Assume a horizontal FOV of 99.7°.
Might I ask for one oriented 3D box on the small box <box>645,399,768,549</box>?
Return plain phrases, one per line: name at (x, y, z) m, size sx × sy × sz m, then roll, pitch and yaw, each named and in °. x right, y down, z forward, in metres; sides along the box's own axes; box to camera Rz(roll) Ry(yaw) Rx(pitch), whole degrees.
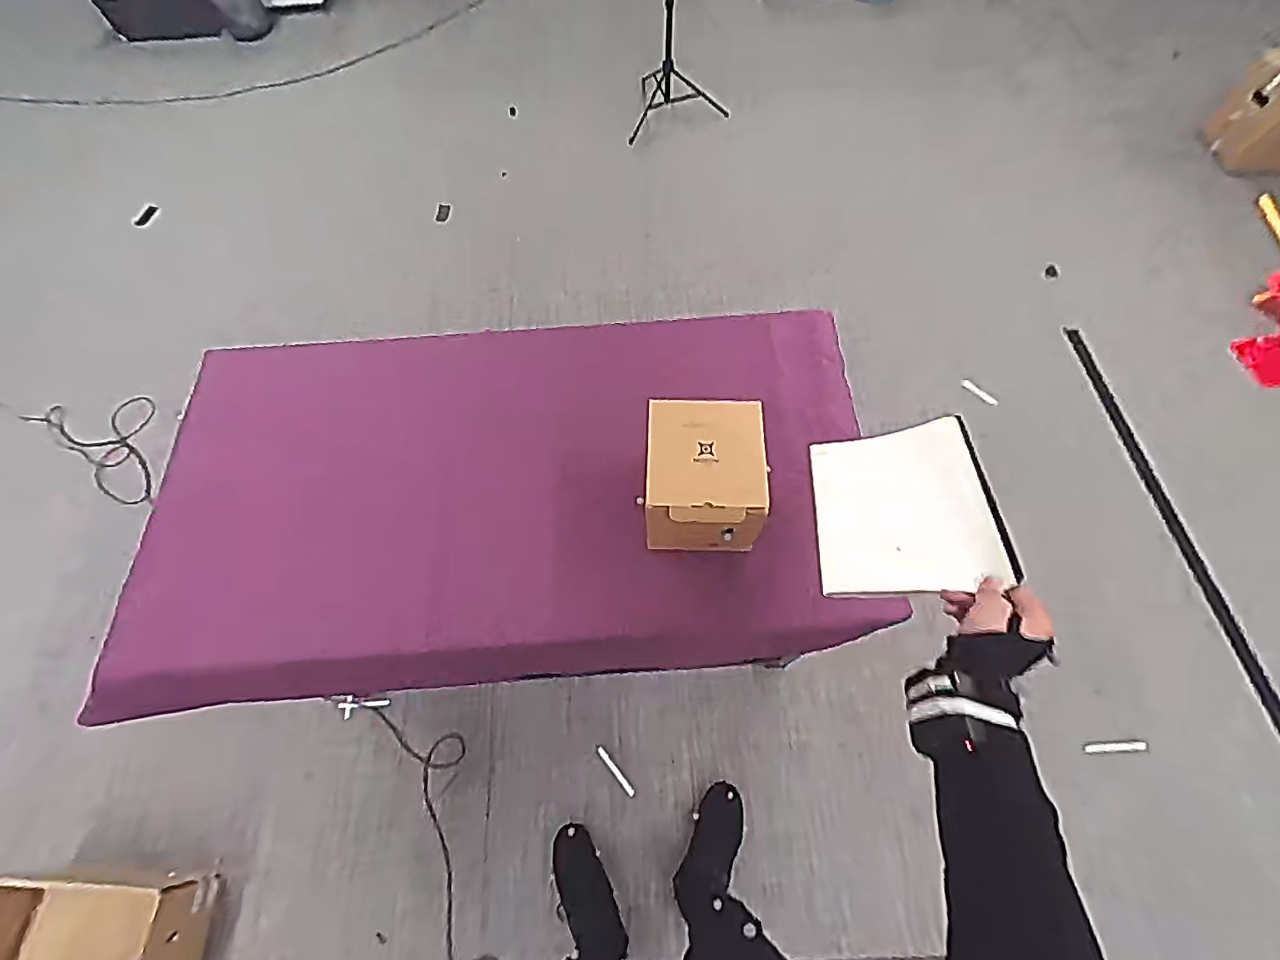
small box at (0.096, -0.003, 0.822) m, size 0.168 × 0.176 × 0.179 m, roll 2°, pitch 63°, yaw 2°
